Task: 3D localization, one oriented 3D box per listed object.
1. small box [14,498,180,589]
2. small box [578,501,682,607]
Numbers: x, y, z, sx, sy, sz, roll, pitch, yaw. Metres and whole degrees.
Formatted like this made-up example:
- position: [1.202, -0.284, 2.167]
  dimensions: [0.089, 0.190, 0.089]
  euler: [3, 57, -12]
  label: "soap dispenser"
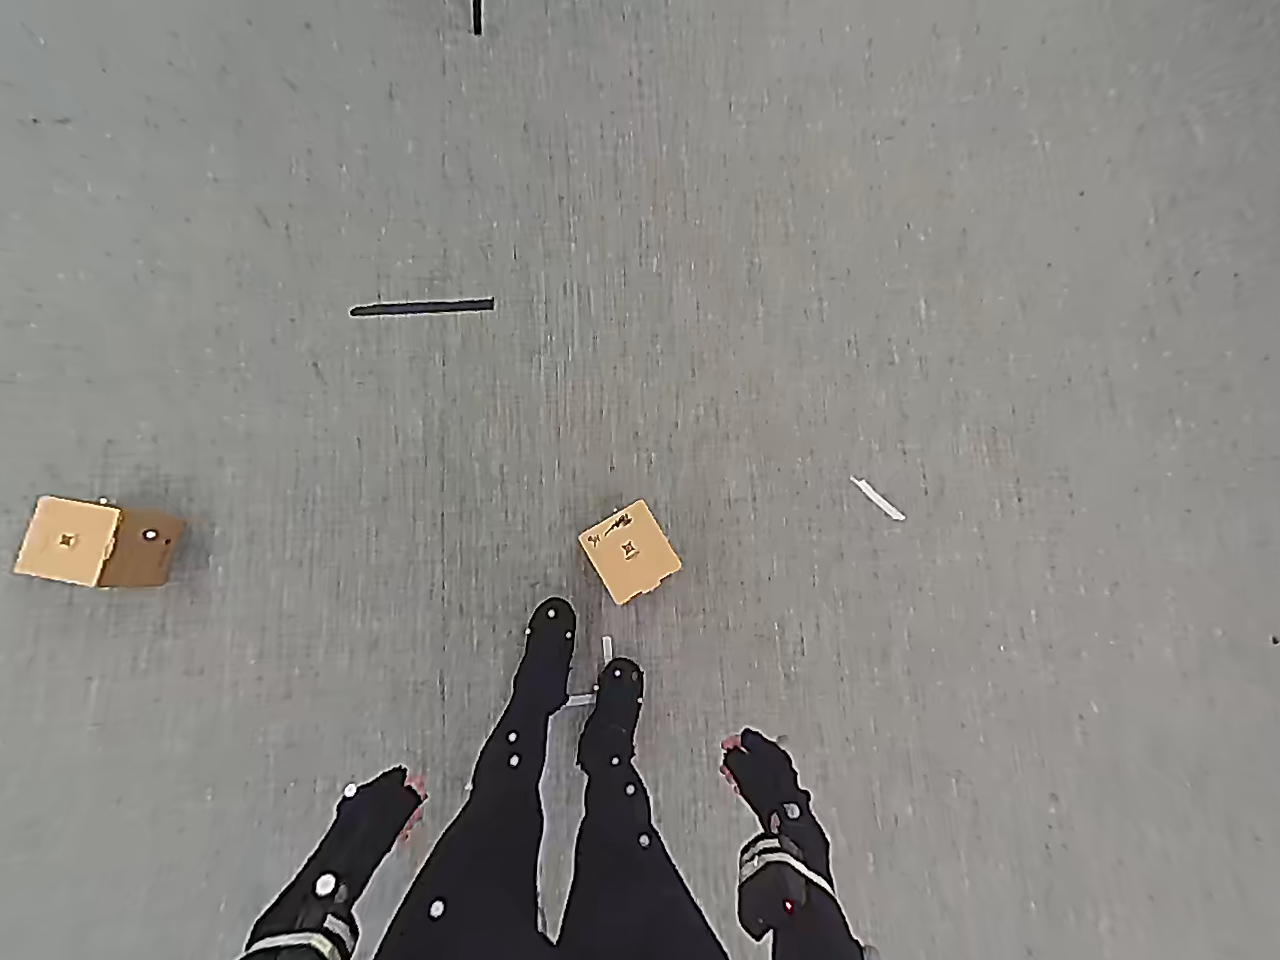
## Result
- position: [-1.185, 0.144, 1.198]
  dimensions: [0.179, 0.176, 0.168]
  euler: [10, 79, 0]
  label: "small box"
- position: [-0.023, 0.166, 1.234]
  dimensions: [0.168, 0.176, 0.179]
  euler: [-30, 84, -6]
  label: "small box"
